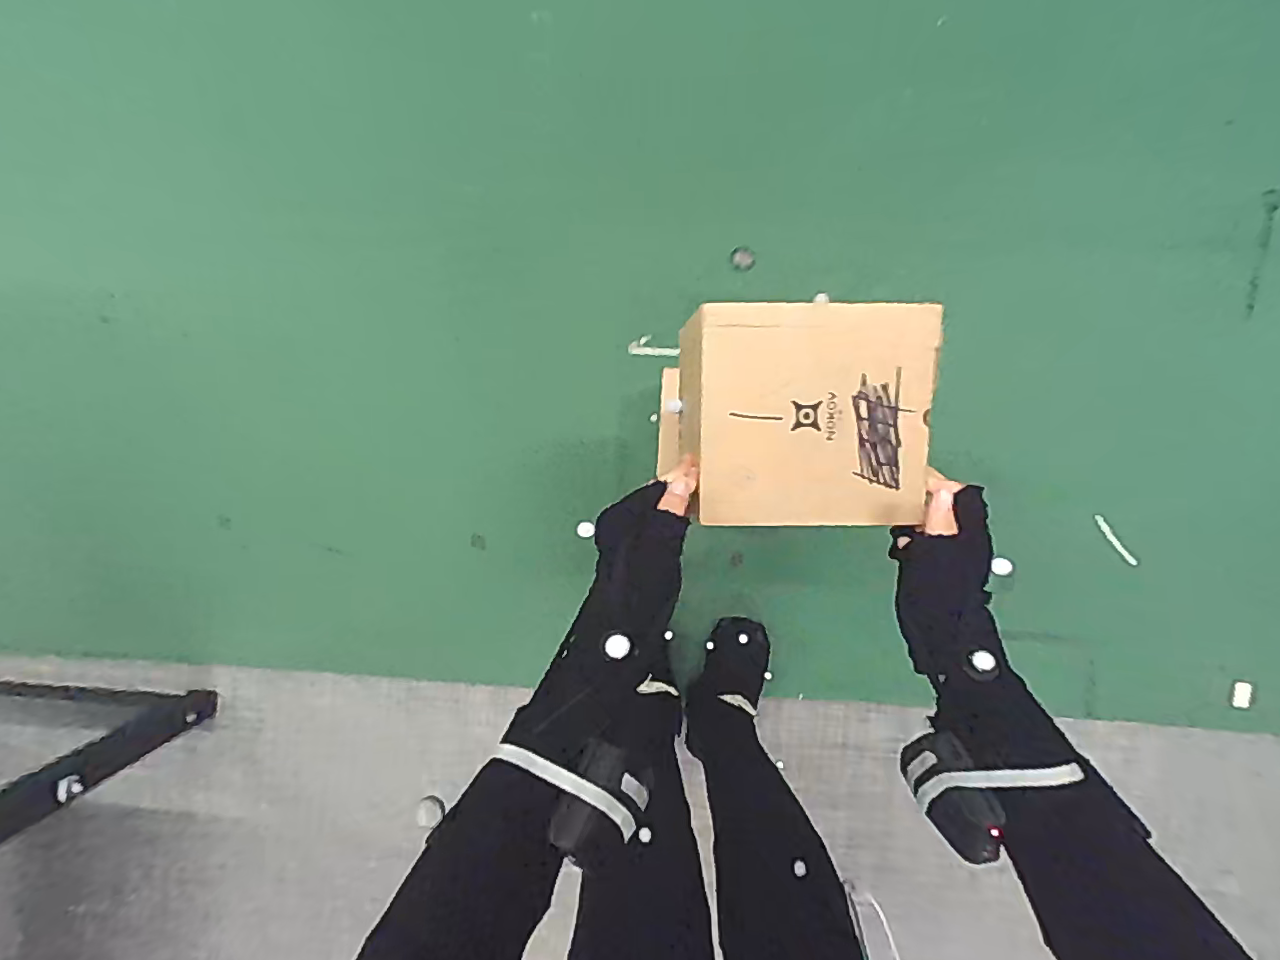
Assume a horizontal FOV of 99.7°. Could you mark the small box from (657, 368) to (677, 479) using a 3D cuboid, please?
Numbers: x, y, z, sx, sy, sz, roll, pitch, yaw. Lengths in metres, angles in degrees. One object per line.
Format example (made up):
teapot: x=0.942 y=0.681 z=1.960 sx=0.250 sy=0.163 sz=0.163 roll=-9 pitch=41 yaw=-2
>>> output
small box: x=0.116 y=-0.087 z=0.923 sx=0.168 sy=0.176 sz=0.179 roll=3 pitch=92 yaw=2

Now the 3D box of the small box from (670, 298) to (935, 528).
small box: x=0.126 y=-0.058 z=0.486 sx=0.179 sy=0.176 sz=0.168 roll=3 pitch=97 yaw=-2
